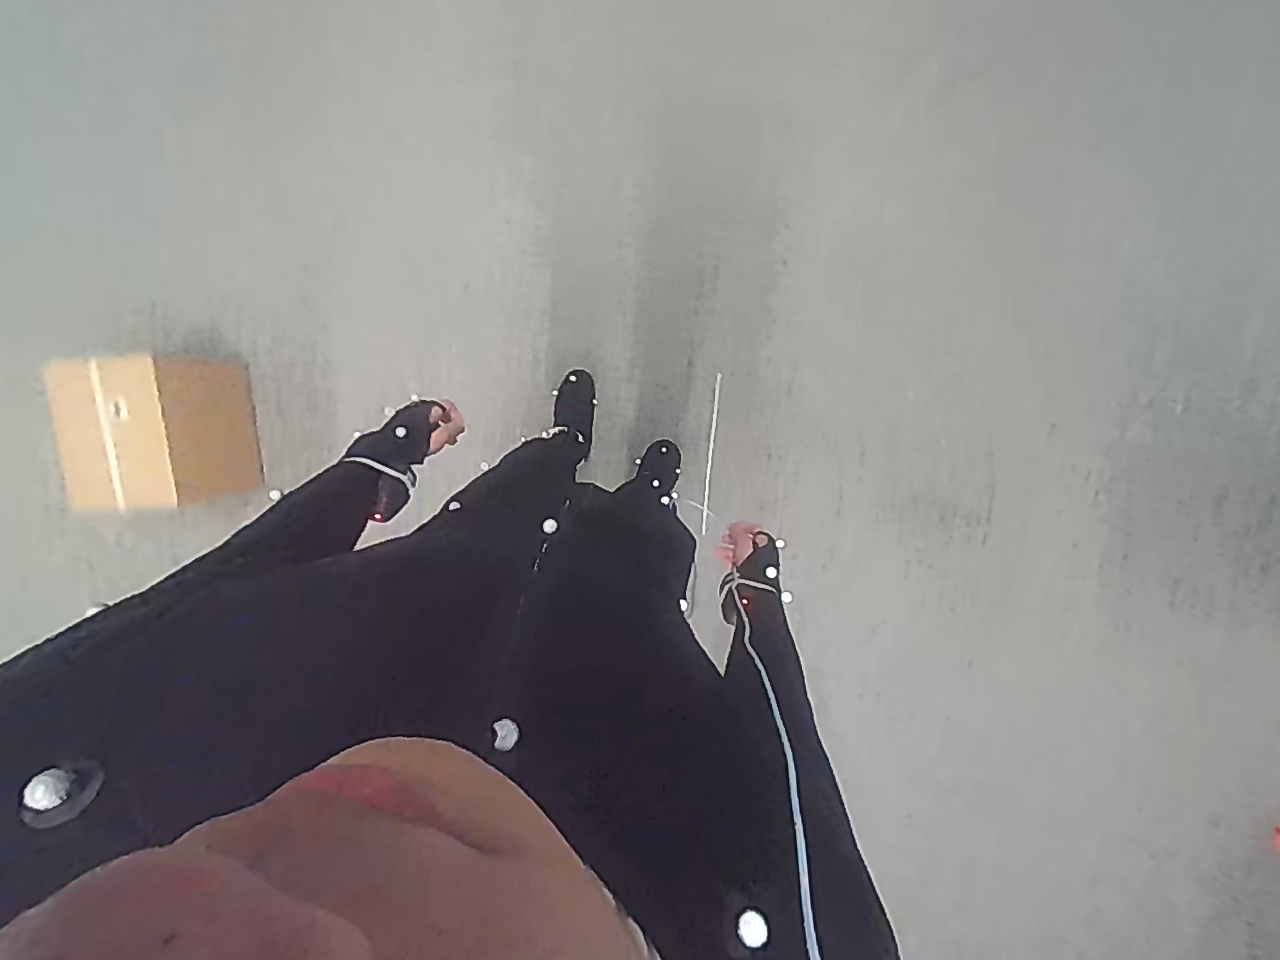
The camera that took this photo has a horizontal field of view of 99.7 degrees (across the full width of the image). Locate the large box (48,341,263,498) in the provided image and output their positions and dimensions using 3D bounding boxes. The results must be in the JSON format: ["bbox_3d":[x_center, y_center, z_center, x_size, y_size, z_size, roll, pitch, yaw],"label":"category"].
[{"bbox_3d":[-1.370,-0.172,1.565,0.320,0.320,0.408,-2,97,4],"label":"large box"}]
